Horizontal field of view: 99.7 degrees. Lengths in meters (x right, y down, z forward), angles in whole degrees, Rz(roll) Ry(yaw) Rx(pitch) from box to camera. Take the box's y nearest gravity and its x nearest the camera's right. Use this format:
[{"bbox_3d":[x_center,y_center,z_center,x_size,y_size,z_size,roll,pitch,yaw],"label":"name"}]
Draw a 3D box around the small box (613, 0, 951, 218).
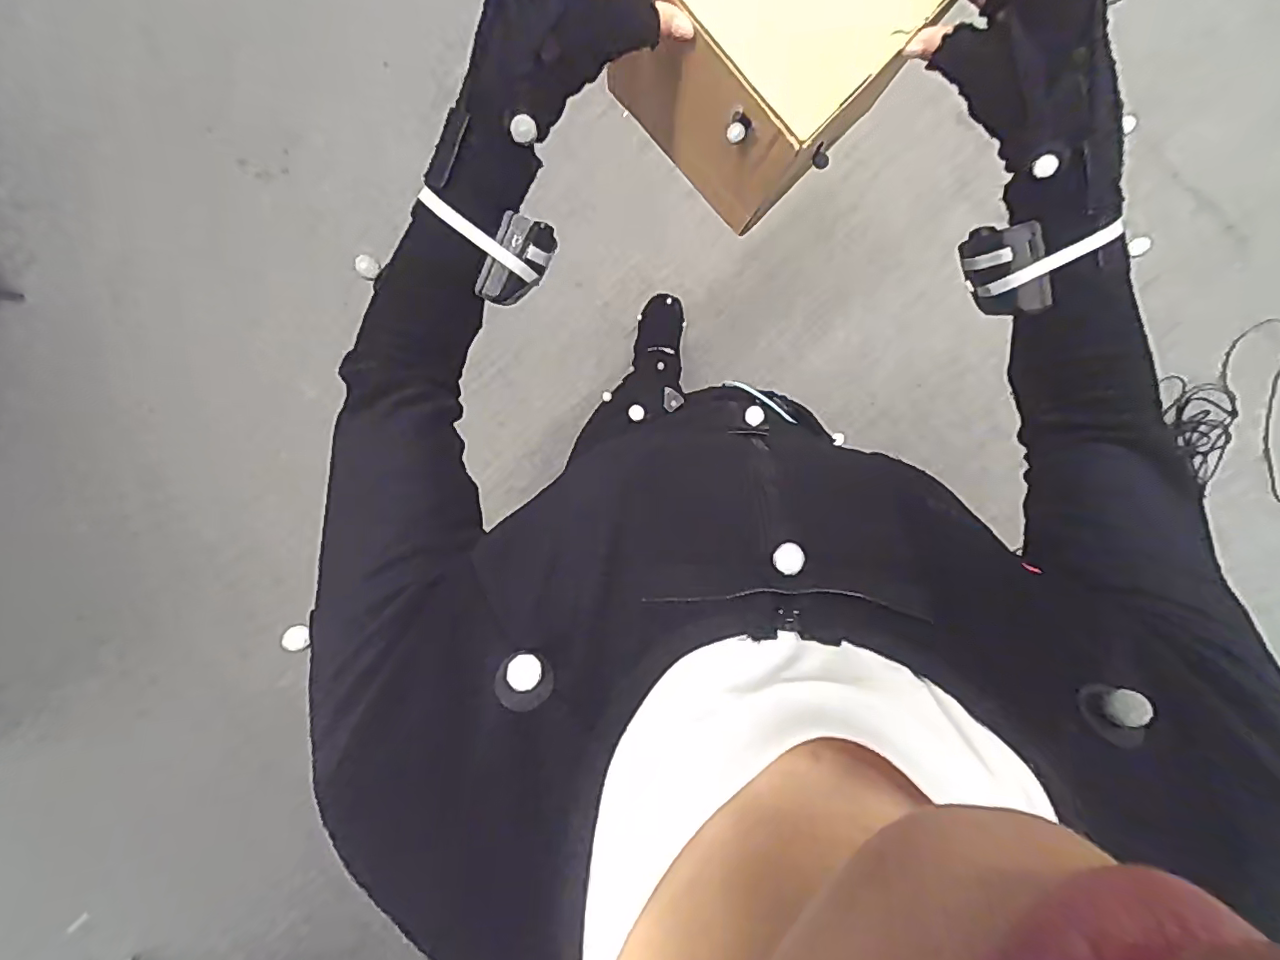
[{"bbox_3d":[0.091,-0.338,0.403,0.168,0.176,0.179,-44,98,3],"label":"small box"}]
